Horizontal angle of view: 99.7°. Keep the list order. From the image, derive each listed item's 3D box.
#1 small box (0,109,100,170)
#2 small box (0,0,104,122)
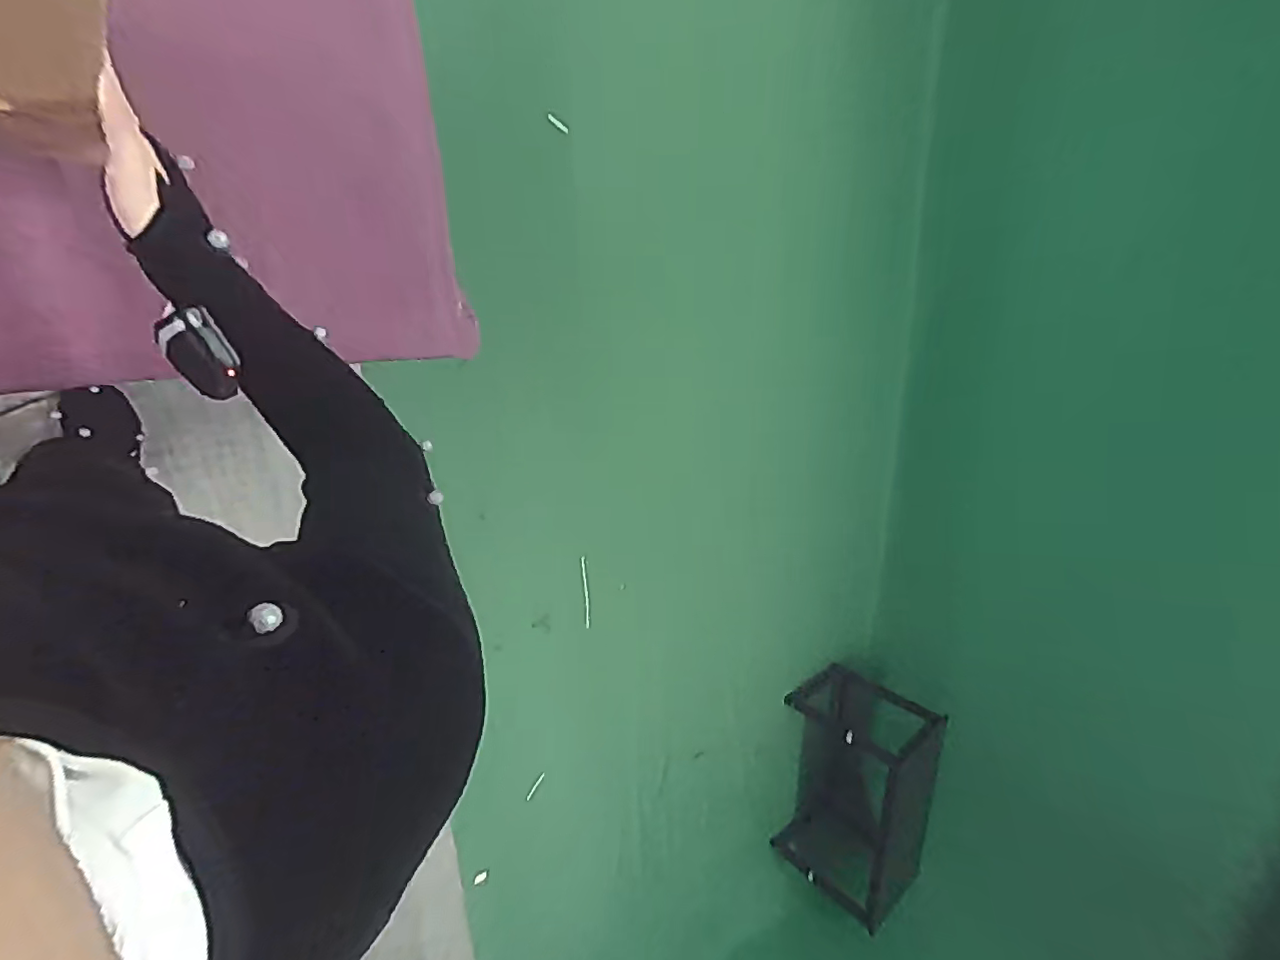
[{"bbox_3d":[-0.552,-0.364,0.417,0.168,0.176,0.179,-14,113,-41],"label":"small box"},{"bbox_3d":[-0.438,-0.336,0.305,0.168,0.176,0.179,-13,114,-43],"label":"small box"}]
